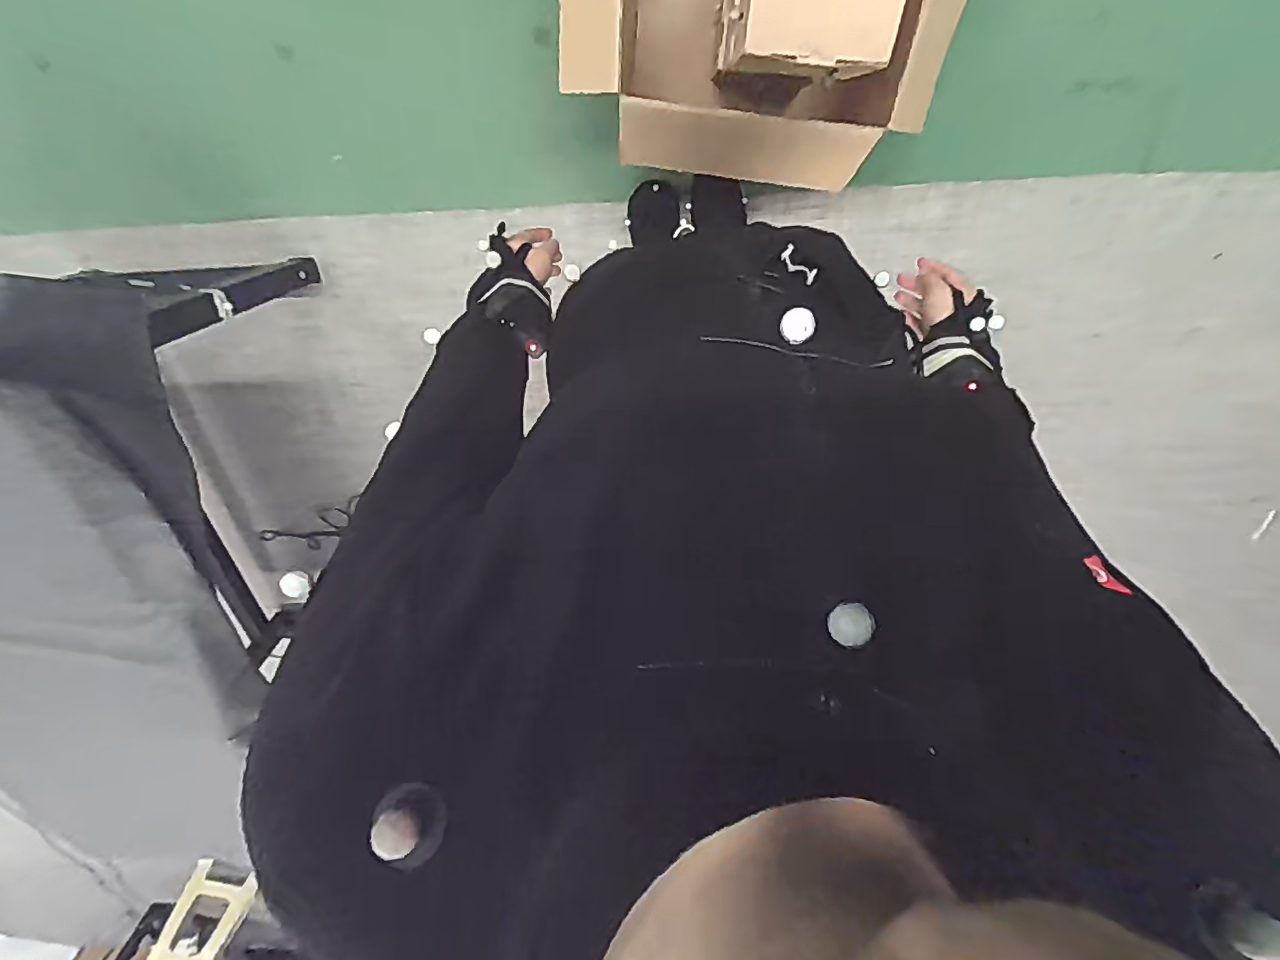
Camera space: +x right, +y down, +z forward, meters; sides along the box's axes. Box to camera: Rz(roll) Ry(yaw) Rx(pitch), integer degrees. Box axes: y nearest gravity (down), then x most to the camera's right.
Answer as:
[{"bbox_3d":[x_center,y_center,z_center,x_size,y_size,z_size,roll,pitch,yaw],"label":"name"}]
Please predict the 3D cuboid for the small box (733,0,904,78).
[{"bbox_3d":[0.205,-0.582,0.623,0.168,0.176,0.179,4,122,0],"label":"small box"}]
